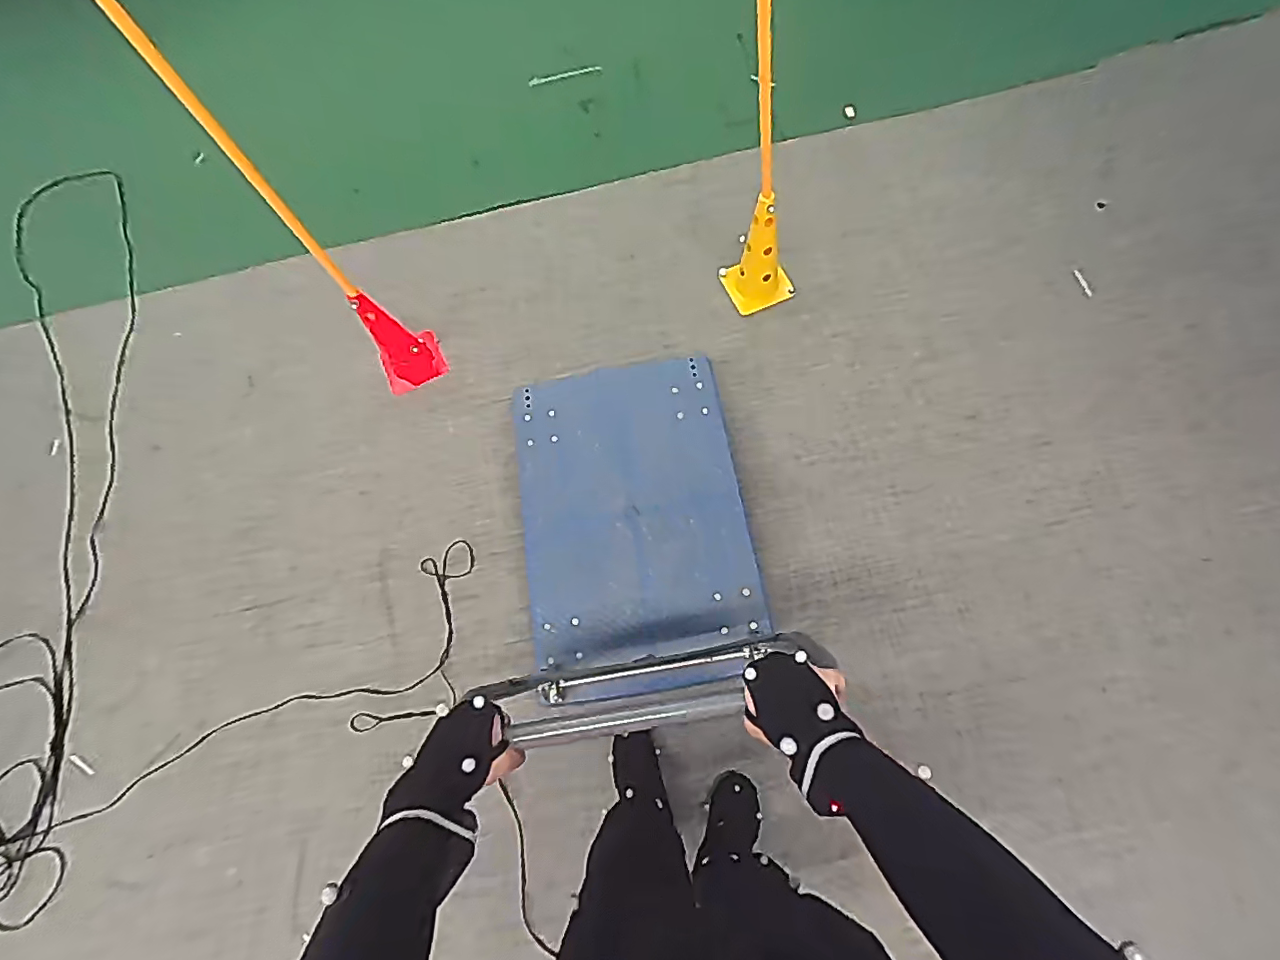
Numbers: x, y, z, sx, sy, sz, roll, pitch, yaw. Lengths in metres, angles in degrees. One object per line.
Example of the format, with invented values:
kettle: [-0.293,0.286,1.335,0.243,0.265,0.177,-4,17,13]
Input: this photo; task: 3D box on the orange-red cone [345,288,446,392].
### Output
orange-red cone: [-0.787,-0.460,1.669,0.199,0.360,0.198,-27,69,-2]
